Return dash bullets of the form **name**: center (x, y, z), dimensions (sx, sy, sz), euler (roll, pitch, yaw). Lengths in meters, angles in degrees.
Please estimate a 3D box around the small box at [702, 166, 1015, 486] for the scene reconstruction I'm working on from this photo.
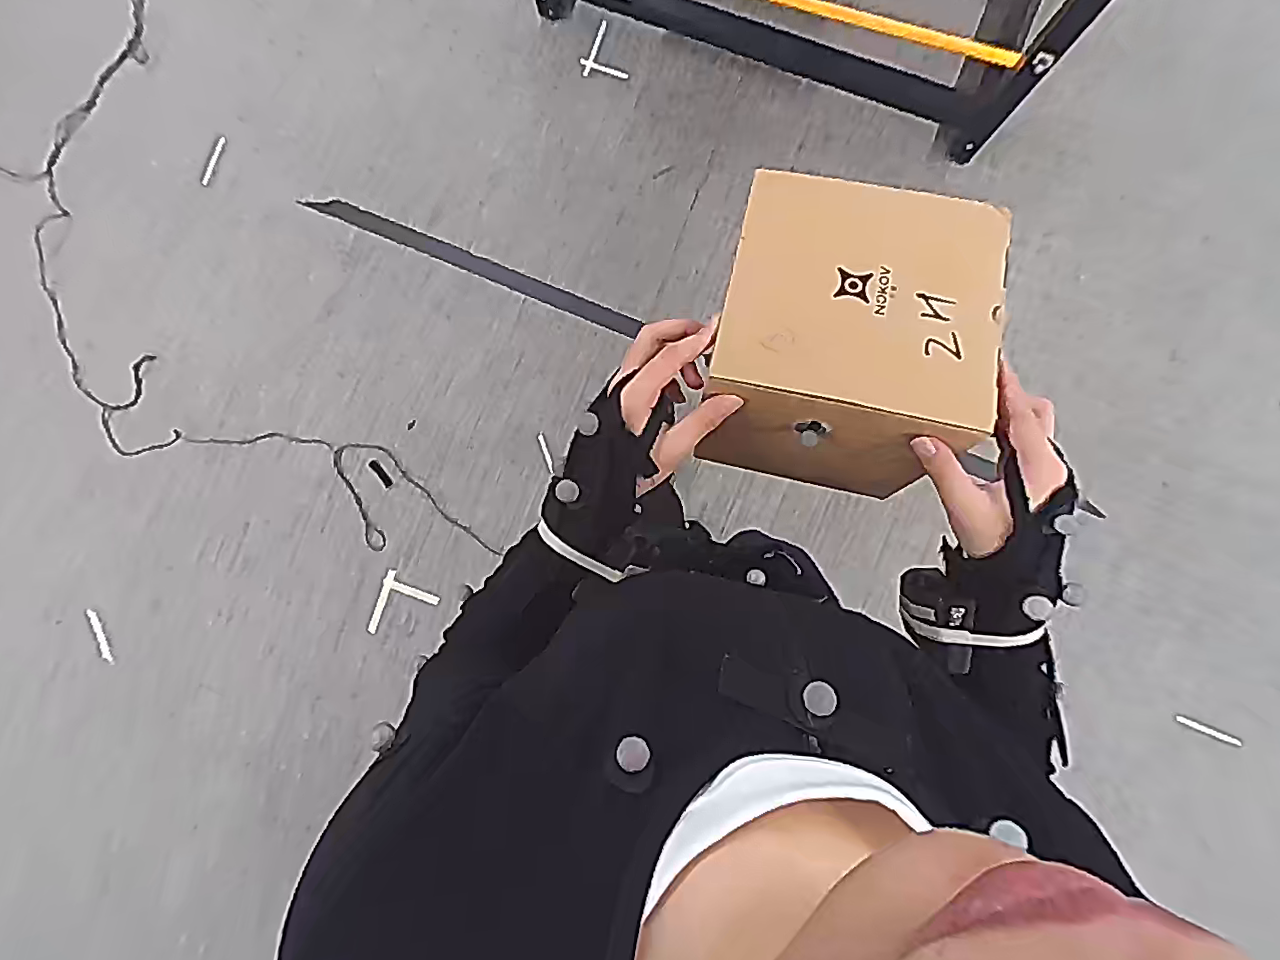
- **small box**: center (0.150, -0.104, 0.426), dimensions (0.179, 0.176, 0.168), euler (13, 76, 6)
